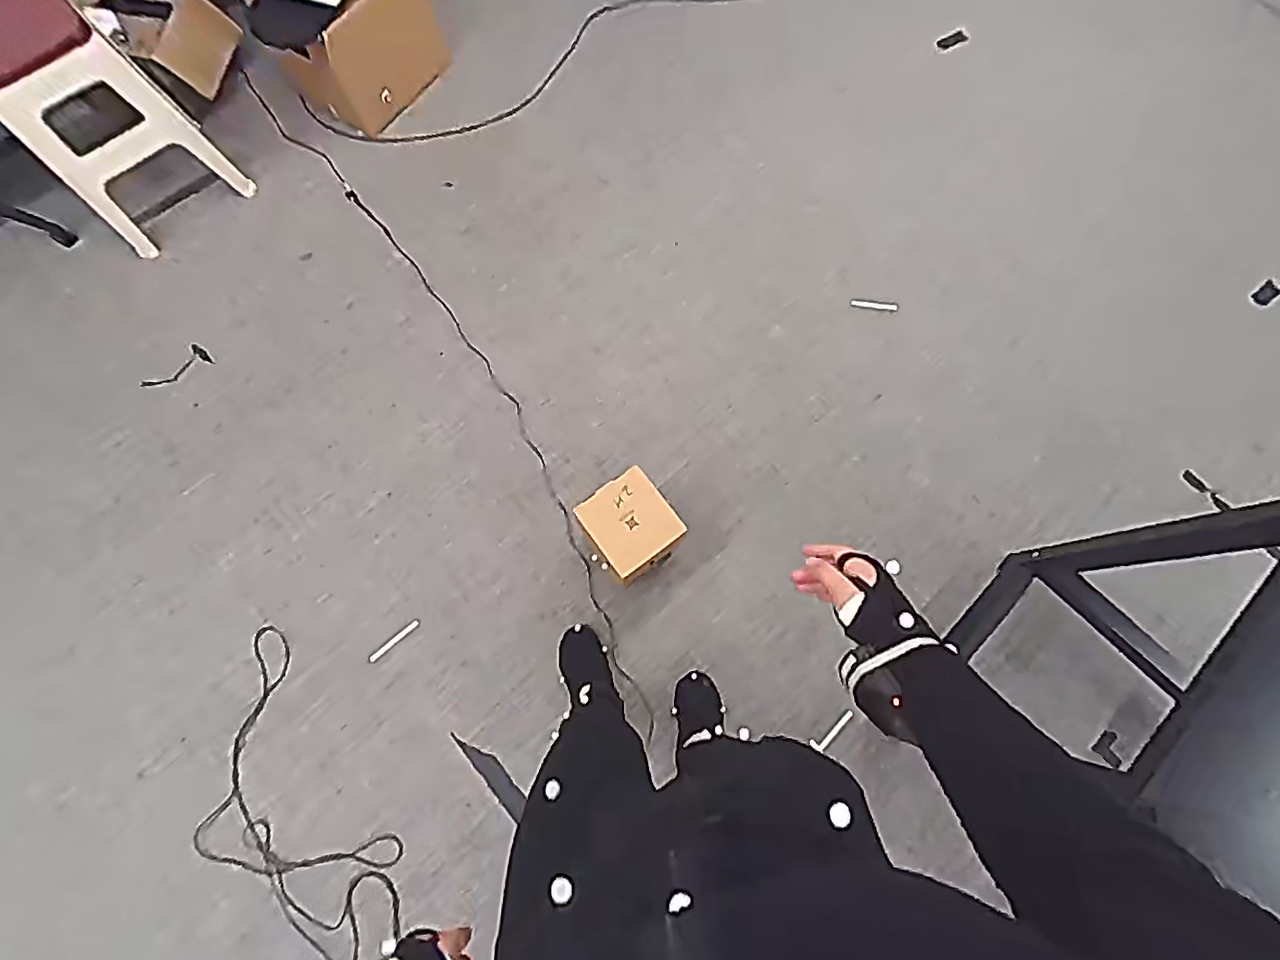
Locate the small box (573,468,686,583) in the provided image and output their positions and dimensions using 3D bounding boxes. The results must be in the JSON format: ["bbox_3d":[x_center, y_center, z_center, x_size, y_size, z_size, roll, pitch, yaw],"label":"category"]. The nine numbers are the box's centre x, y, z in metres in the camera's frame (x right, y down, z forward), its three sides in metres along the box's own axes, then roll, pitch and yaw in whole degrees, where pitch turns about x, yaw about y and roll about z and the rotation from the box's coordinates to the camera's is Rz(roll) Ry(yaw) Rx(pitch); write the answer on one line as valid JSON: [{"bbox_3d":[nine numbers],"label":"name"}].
[{"bbox_3d":[-0.022,0.107,1.164,0.168,0.176,0.179,-35,77,-12],"label":"small box"}]
